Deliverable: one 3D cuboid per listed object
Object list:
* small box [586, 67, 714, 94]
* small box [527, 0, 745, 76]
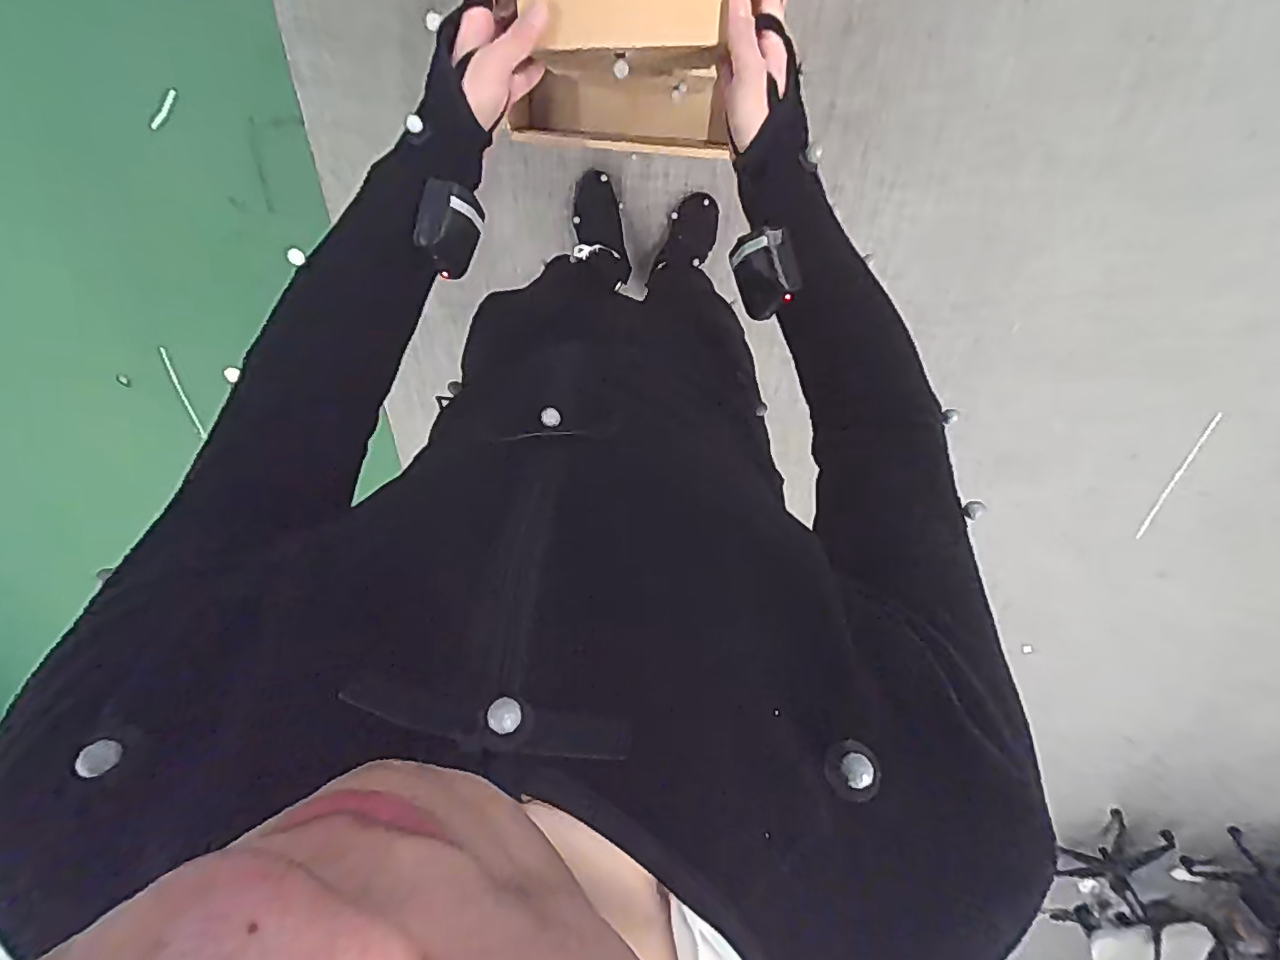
[{"bbox_3d":[0.018,-0.657,0.768,0.179,0.176,0.168,4,123,0],"label":"small box"},{"bbox_3d":[-0.002,-0.461,0.468,0.179,0.176,0.168,1,122,1],"label":"small box"}]
